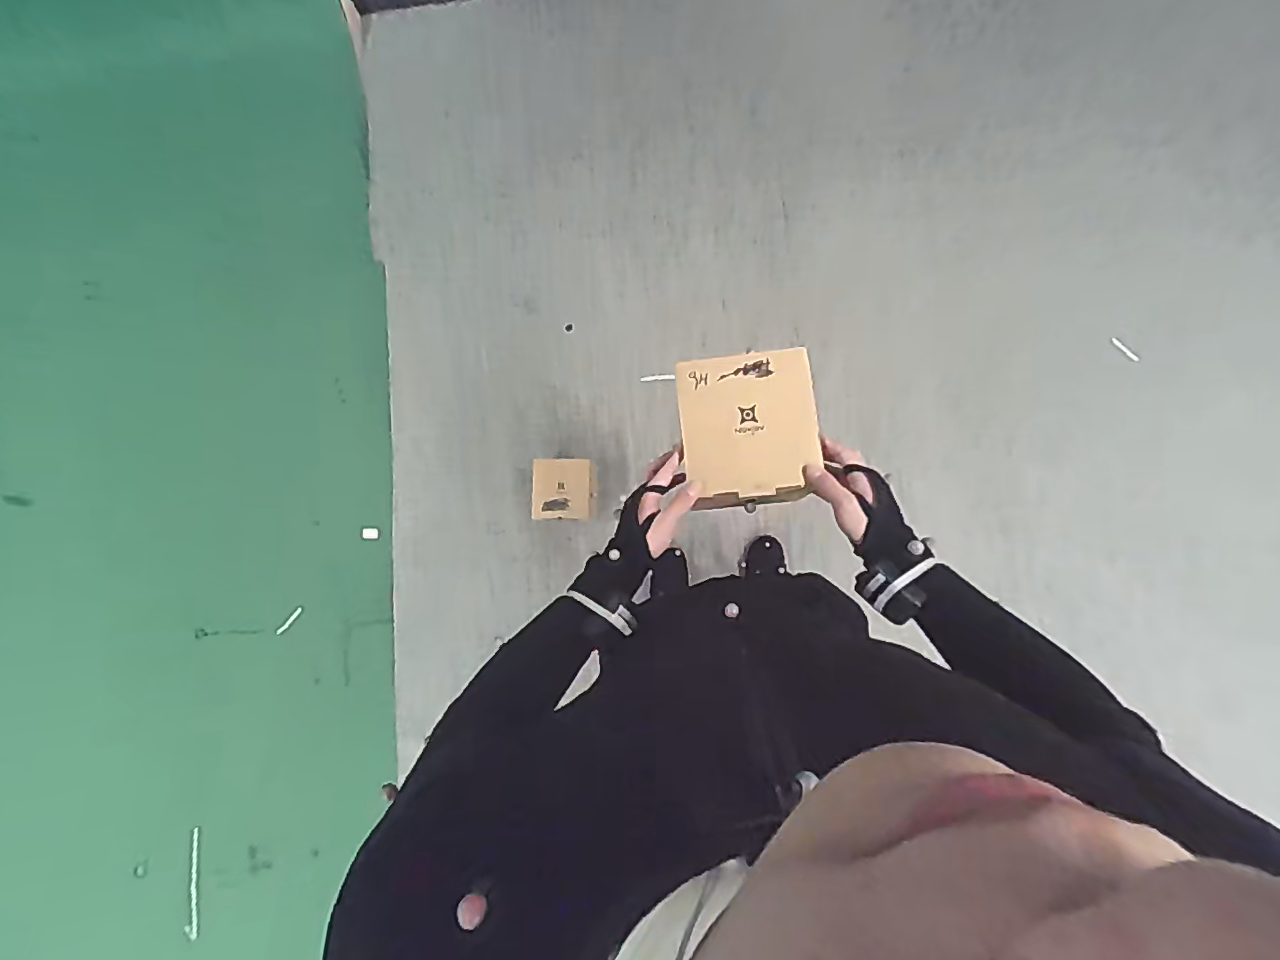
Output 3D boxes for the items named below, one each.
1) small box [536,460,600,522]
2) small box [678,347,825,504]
[{"bbox_3d":[-0.211,0.037,1.624,0.168,0.176,0.179,0,84,3],"label":"small box"},{"bbox_3d":[0.144,-0.061,0.739,0.168,0.176,0.179,-6,82,5],"label":"small box"}]
